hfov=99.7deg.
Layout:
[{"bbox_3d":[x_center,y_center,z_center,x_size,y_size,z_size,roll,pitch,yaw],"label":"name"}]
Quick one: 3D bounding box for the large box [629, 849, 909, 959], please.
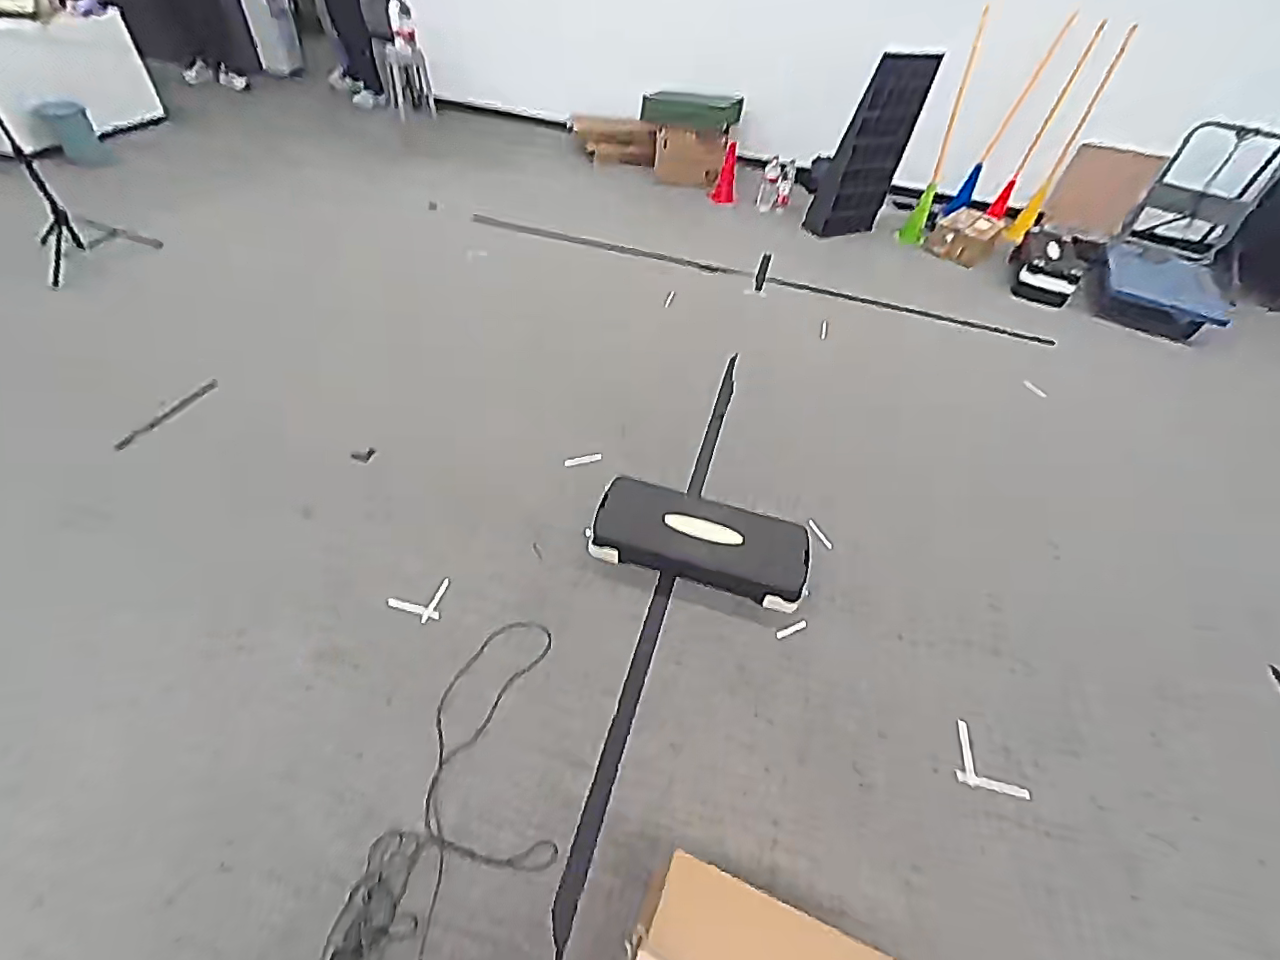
[{"bbox_3d":[0.176,0.885,0.881,0.408,0.320,0.320,21,48,11],"label":"large box"}]
